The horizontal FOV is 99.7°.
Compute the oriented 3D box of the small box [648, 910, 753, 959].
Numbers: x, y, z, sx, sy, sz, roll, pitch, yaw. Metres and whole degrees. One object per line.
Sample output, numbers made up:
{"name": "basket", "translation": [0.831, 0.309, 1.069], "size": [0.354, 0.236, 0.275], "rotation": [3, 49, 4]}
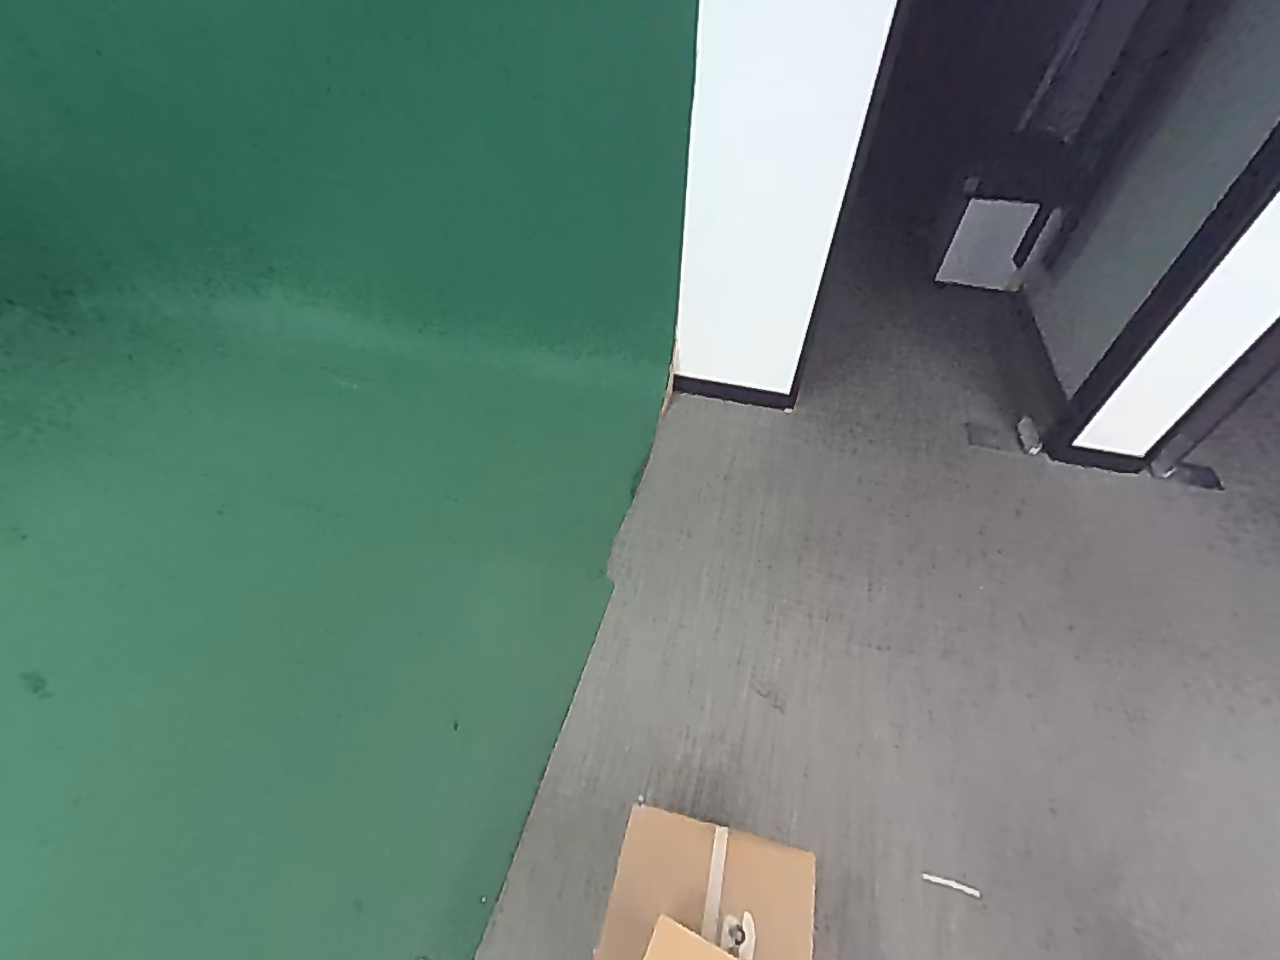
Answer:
{"name": "small box", "translation": [0.070, 0.694, 0.683], "size": [0.168, 0.176, 0.179], "rotation": [18, 50, 18]}

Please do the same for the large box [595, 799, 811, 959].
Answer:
{"name": "large box", "translation": [0.090, 0.827, 0.895], "size": [0.320, 0.320, 0.408], "rotation": [11, 47, 10]}
